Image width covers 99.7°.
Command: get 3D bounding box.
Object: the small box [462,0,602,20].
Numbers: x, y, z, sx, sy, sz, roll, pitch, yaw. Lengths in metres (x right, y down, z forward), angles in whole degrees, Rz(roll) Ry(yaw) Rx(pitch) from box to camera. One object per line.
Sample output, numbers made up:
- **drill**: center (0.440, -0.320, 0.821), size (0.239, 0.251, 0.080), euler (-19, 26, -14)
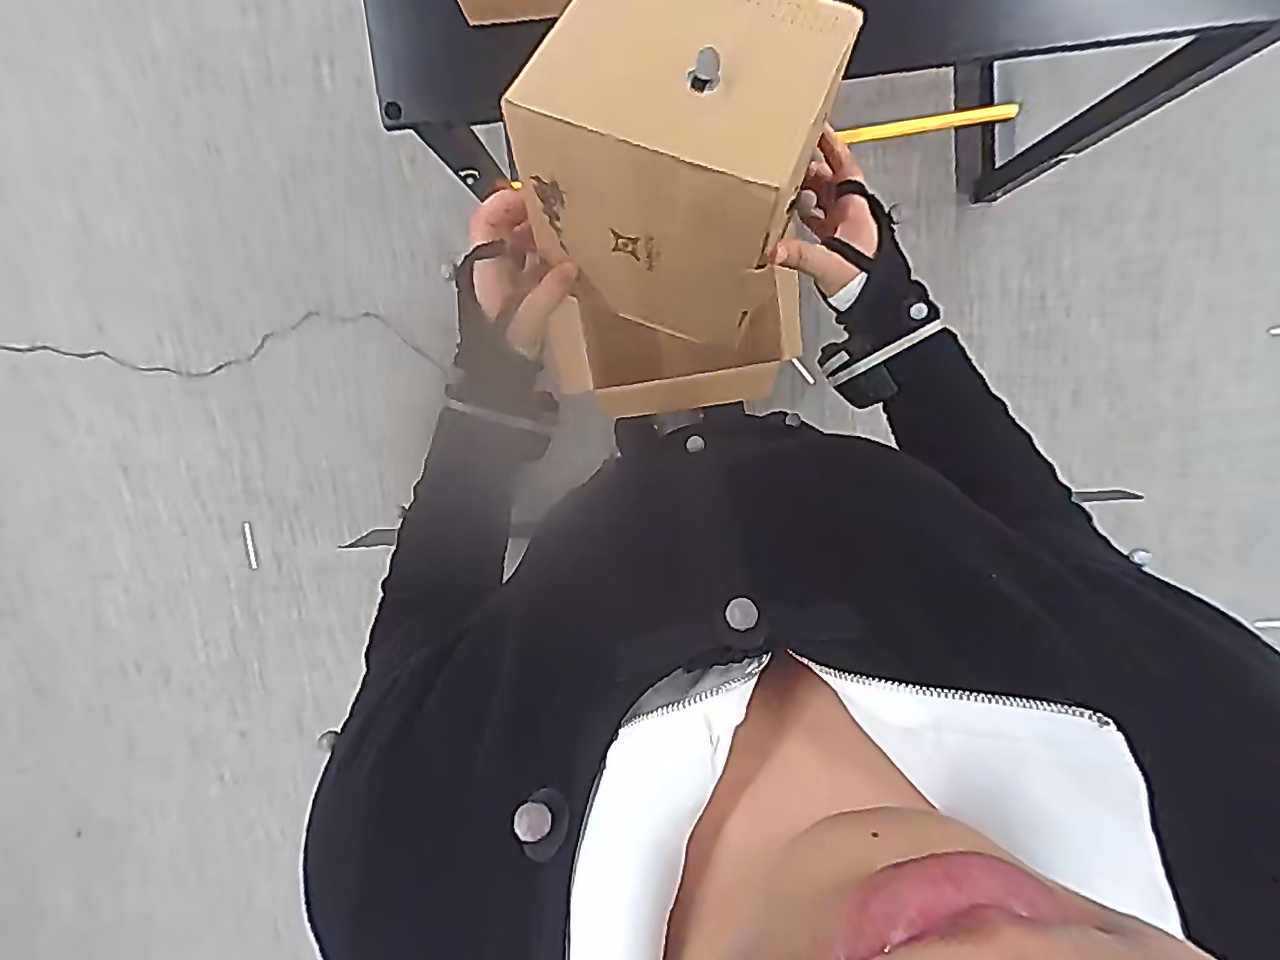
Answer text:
- **small box**: center (-0.133, -0.633, 0.572), size (0.179, 0.176, 0.168), euler (-5, 100, 1)
